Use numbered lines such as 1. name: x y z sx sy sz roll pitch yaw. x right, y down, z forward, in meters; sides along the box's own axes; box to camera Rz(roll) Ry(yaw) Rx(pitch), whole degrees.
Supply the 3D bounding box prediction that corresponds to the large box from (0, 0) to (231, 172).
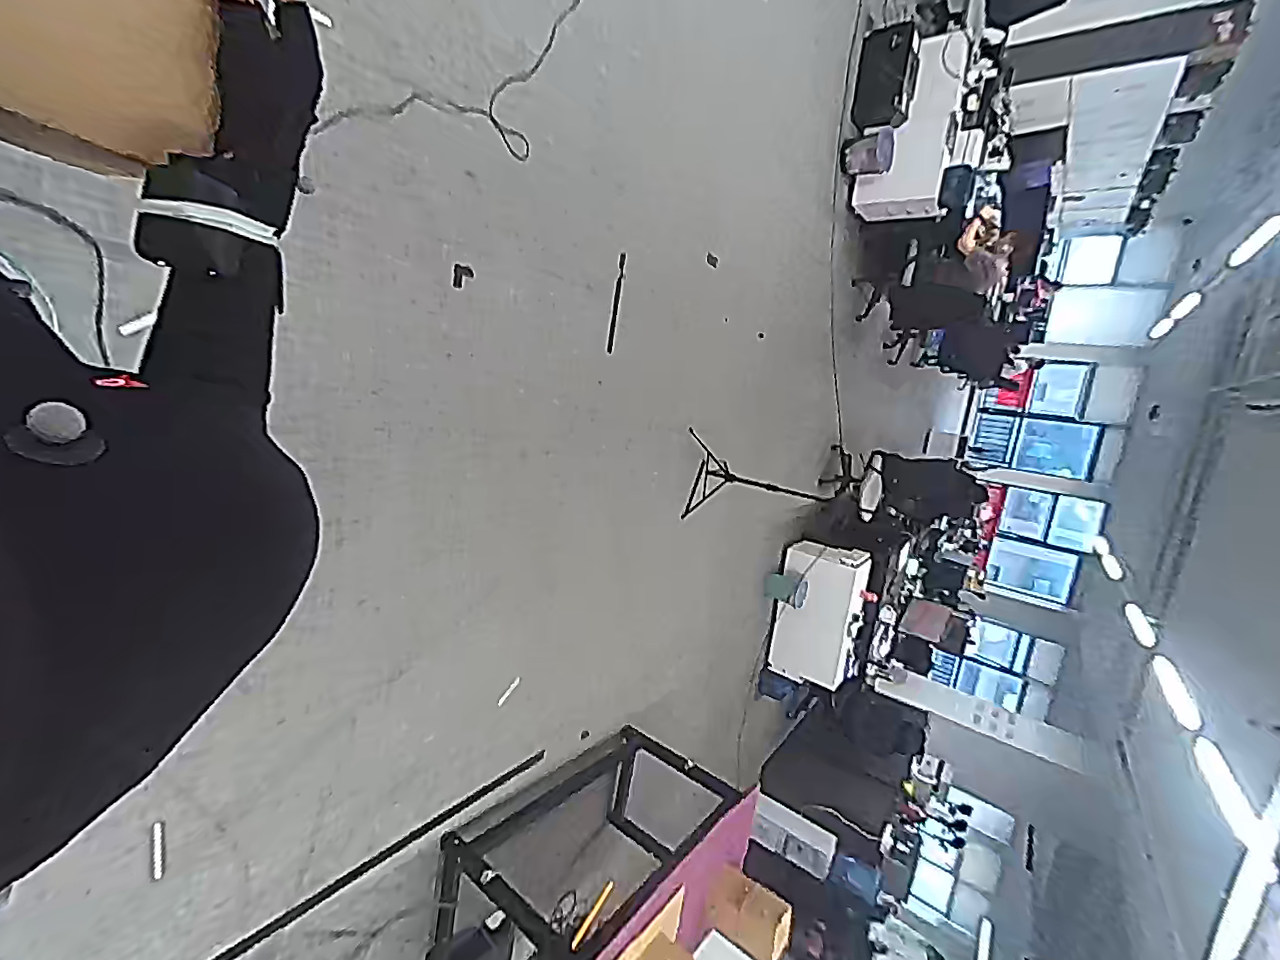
1. large box: -0.509 -0.420 0.290 0.408 0.320 0.320 1 109 -57
